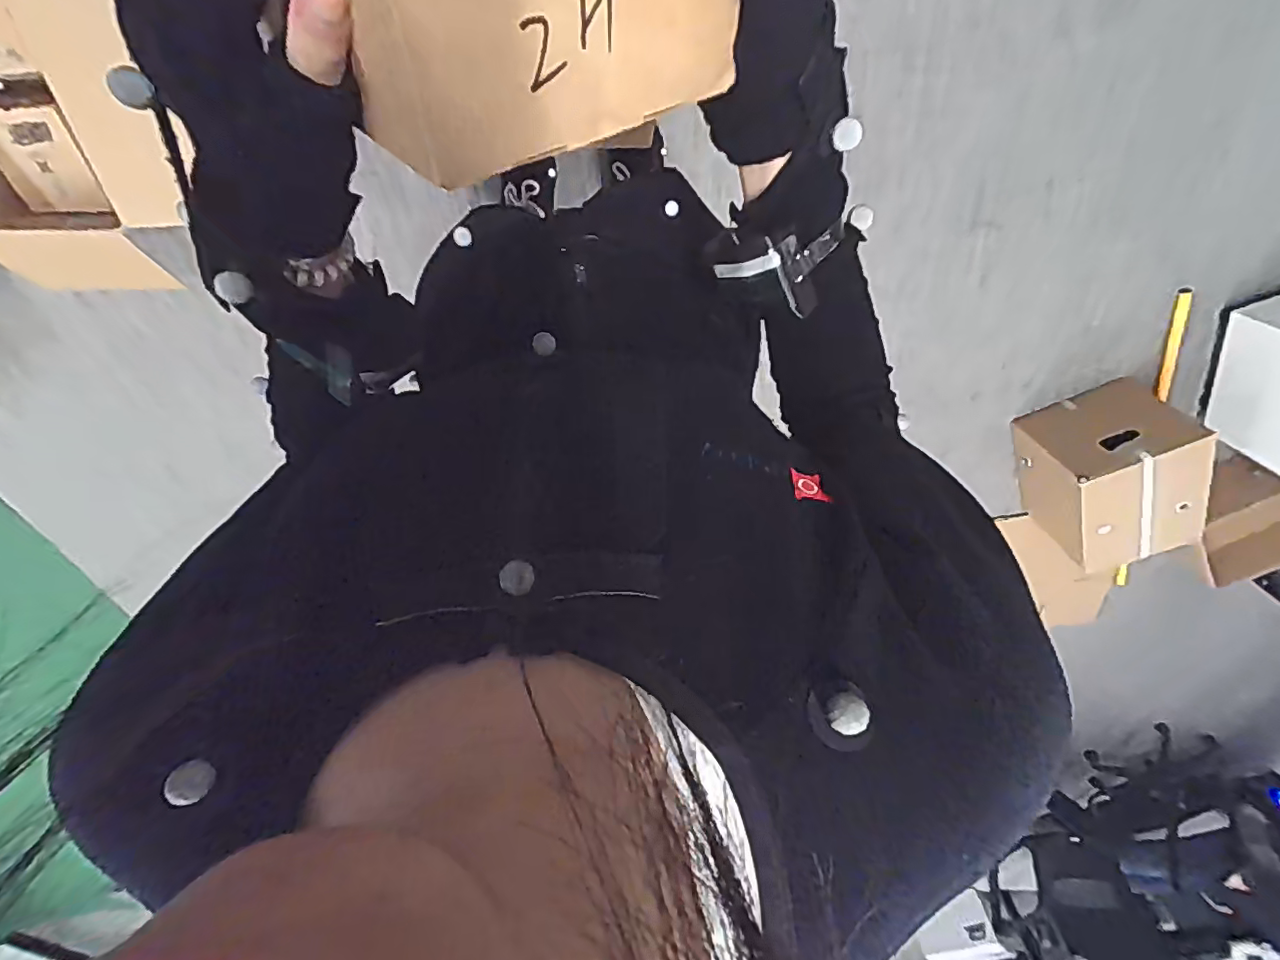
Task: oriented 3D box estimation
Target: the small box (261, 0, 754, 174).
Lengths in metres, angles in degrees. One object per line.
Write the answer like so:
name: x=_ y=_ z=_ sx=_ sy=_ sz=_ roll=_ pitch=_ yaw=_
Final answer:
small box: x=-0.063 y=-0.255 z=0.203 sx=0.168 sy=0.176 sz=0.179 roll=-36 pitch=152 yaw=-24
